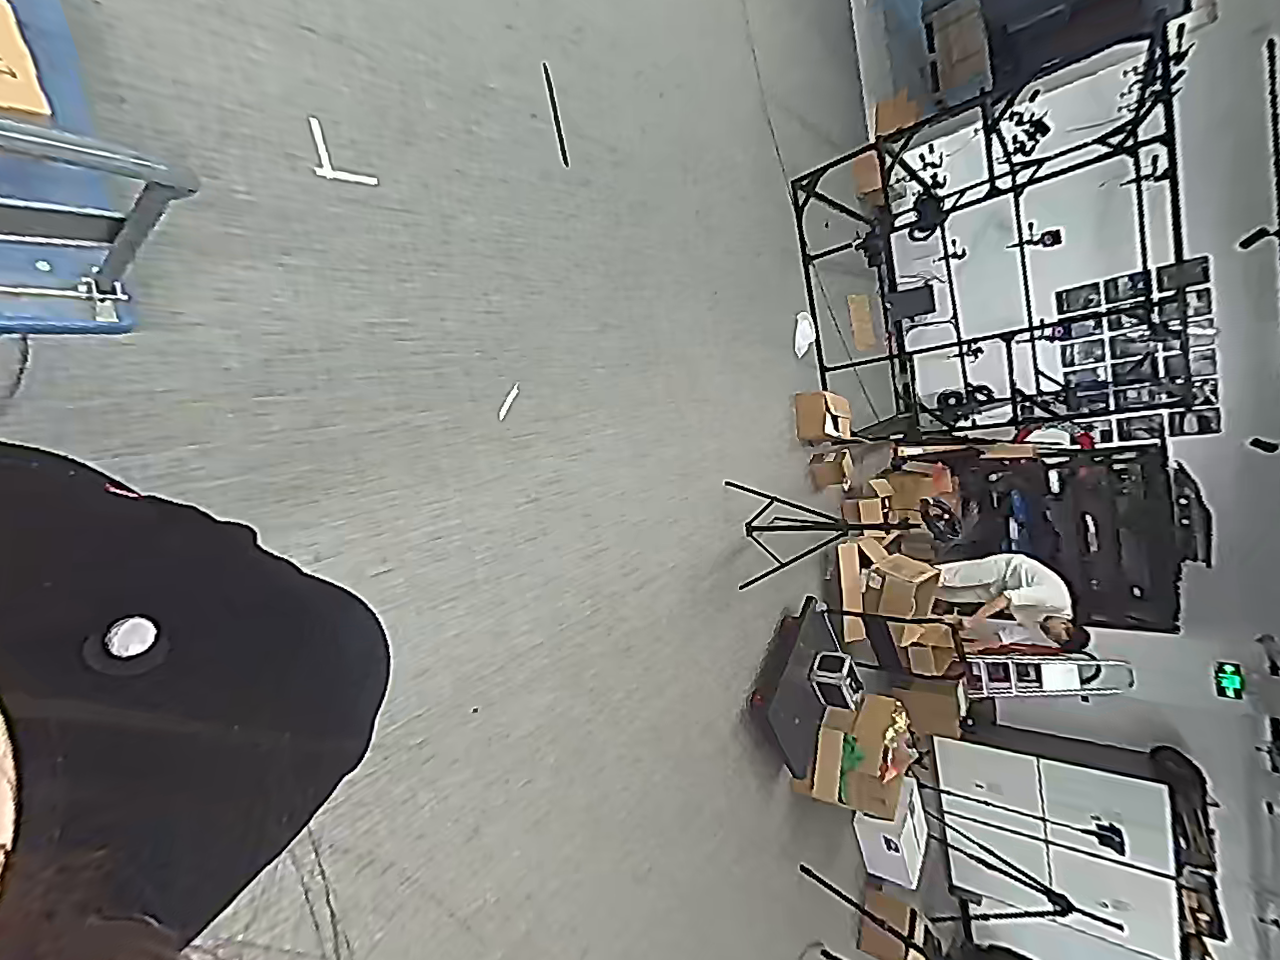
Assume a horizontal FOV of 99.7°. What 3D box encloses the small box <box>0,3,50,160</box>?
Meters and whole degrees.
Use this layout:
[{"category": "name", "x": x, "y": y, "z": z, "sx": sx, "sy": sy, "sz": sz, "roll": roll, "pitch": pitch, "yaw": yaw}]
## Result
[{"category": "small box", "x": -1.067, "y": -0.624, "z": 0.835, "sx": 0.179, "sy": 0.176, "sz": 0.168, "roll": -24, "pitch": 104, "yaw": -48}]
